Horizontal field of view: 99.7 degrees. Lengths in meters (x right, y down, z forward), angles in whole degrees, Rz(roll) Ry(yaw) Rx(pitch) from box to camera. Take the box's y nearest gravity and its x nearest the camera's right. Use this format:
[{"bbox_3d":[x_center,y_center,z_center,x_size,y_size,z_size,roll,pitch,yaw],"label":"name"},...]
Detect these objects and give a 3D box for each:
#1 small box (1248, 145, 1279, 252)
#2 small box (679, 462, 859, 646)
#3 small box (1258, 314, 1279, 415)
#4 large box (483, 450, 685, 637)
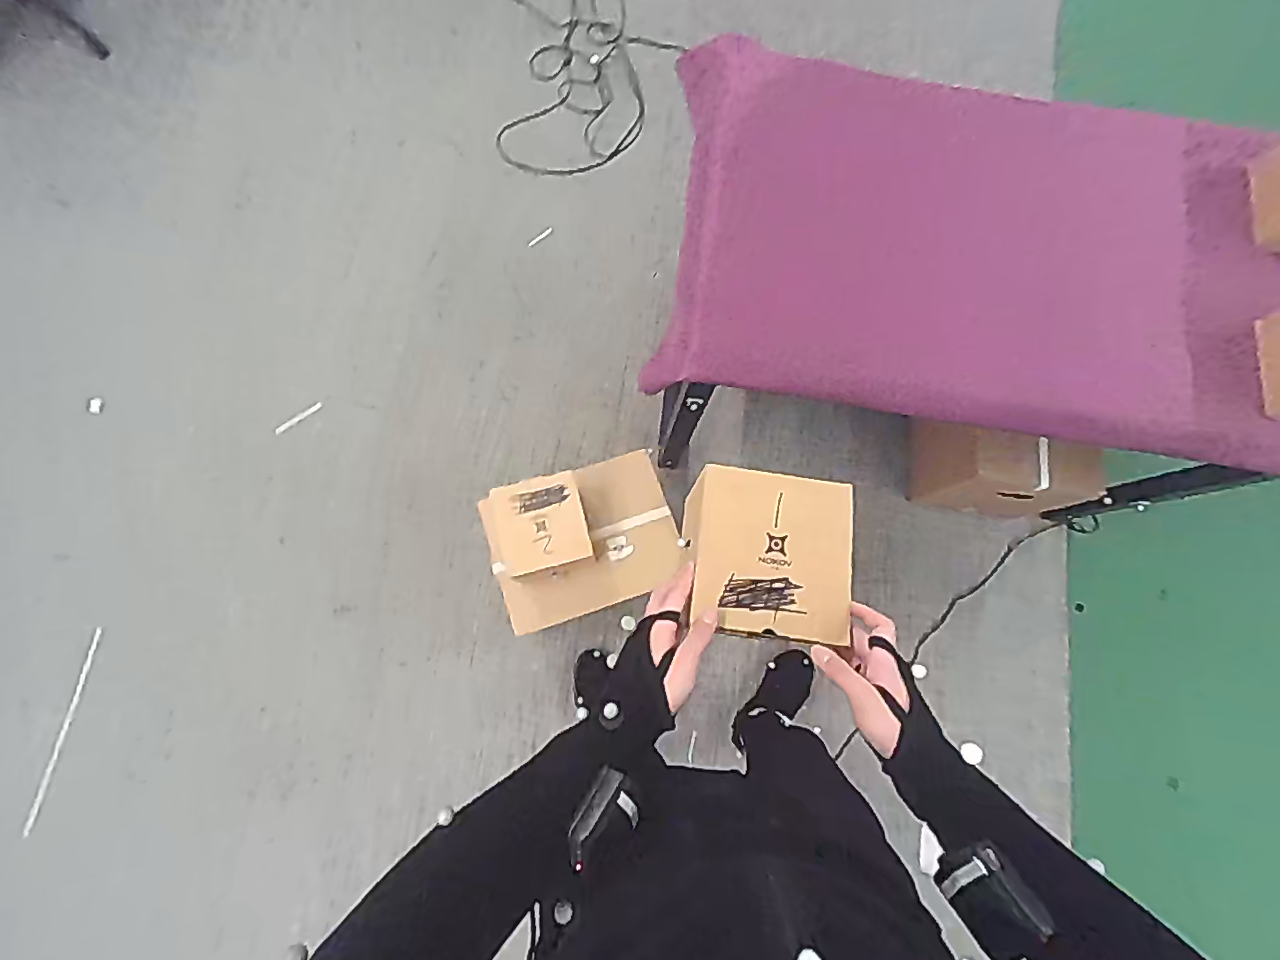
[{"bbox_3d":[1.152,-0.488,0.872,0.168,0.176,0.179,10,77,2],"label":"small box"},{"bbox_3d":[0.142,0.096,0.644,0.168,0.176,0.179,9,73,-1],"label":"small box"},{"bbox_3d":[1.085,-0.189,0.797,0.168,0.176,0.179,10,73,2],"label":"small box"},{"bbox_3d":[-0.125,0.168,1.336,0.408,0.320,0.320,-18,79,-8],"label":"large box"}]
